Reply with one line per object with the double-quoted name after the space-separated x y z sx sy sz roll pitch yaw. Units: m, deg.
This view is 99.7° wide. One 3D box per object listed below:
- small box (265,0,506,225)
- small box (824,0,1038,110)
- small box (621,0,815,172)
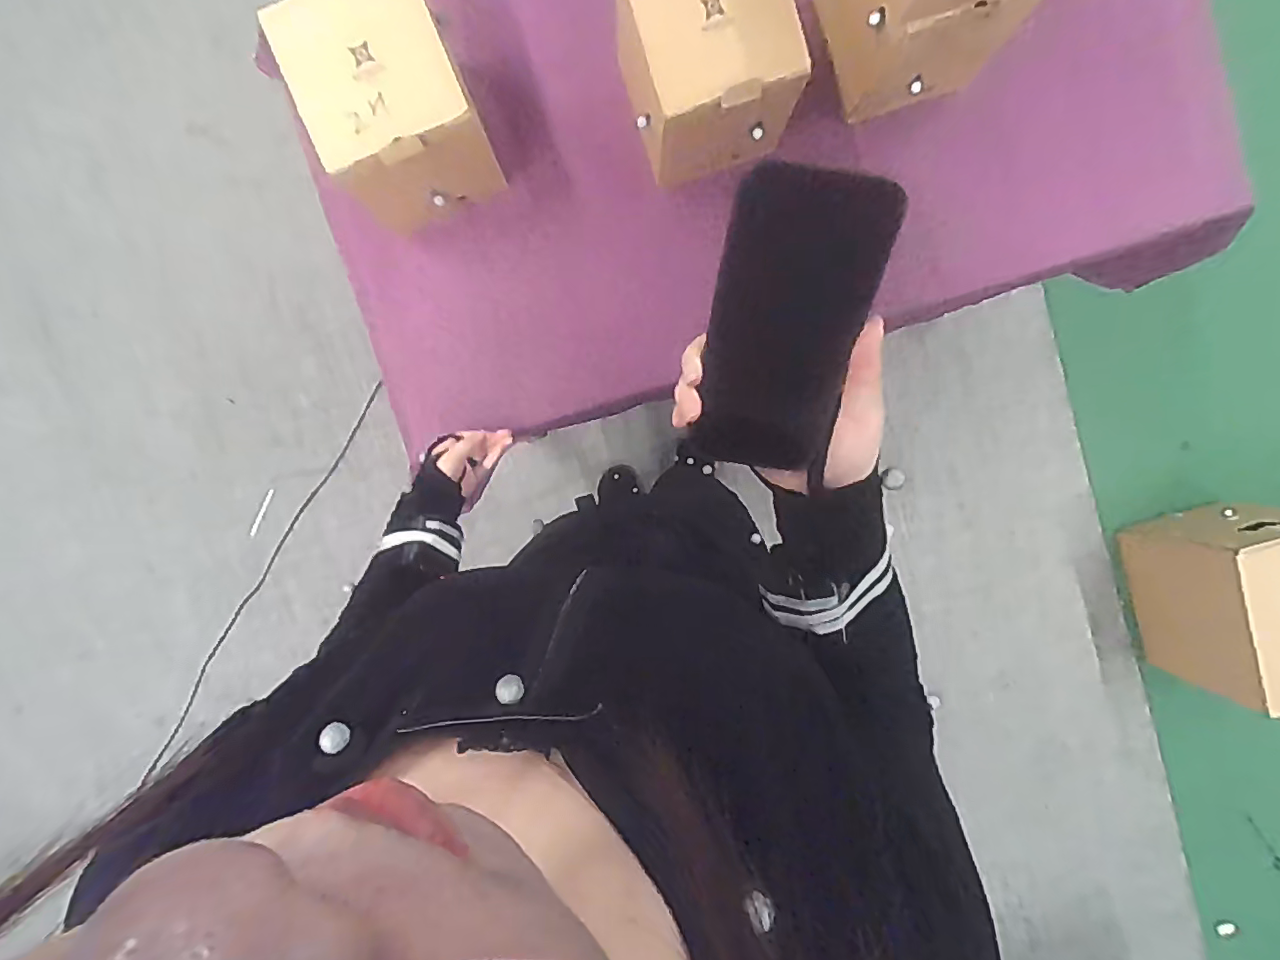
-0.279 -0.439 0.636 0.168 0.176 0.179 -22 95 2 "small box"
0.330 -0.583 0.626 0.168 0.176 0.179 -18 95 2 "small box"
0.080 -0.494 0.634 0.168 0.176 0.179 -18 94 1 "small box"
